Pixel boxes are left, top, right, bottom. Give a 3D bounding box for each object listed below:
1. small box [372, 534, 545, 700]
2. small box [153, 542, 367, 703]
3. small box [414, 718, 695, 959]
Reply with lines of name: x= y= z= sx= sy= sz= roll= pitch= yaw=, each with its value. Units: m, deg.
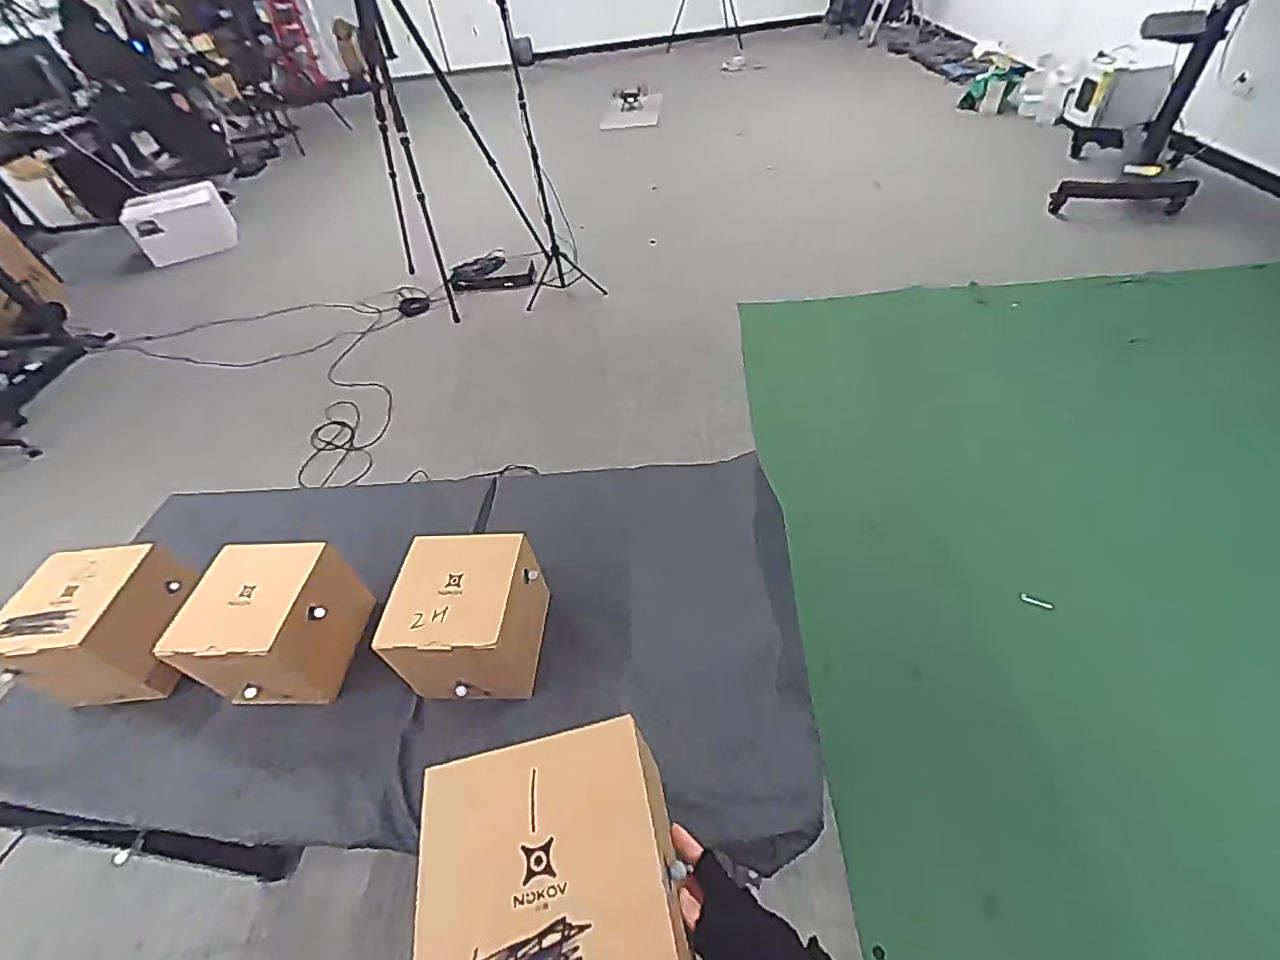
small box: x=-0.242 y=0.196 z=0.778 sx=0.168 sy=0.176 sz=0.179 roll=-2 pitch=47 yaw=6
small box: x=-0.539 y=0.211 z=0.803 sx=0.168 sy=0.176 sz=0.179 roll=-2 pitch=48 yaw=5
small box: x=-0.057 y=0.315 z=0.420 sx=0.168 sy=0.176 sz=0.179 roll=-14 pitch=48 yaw=-2
